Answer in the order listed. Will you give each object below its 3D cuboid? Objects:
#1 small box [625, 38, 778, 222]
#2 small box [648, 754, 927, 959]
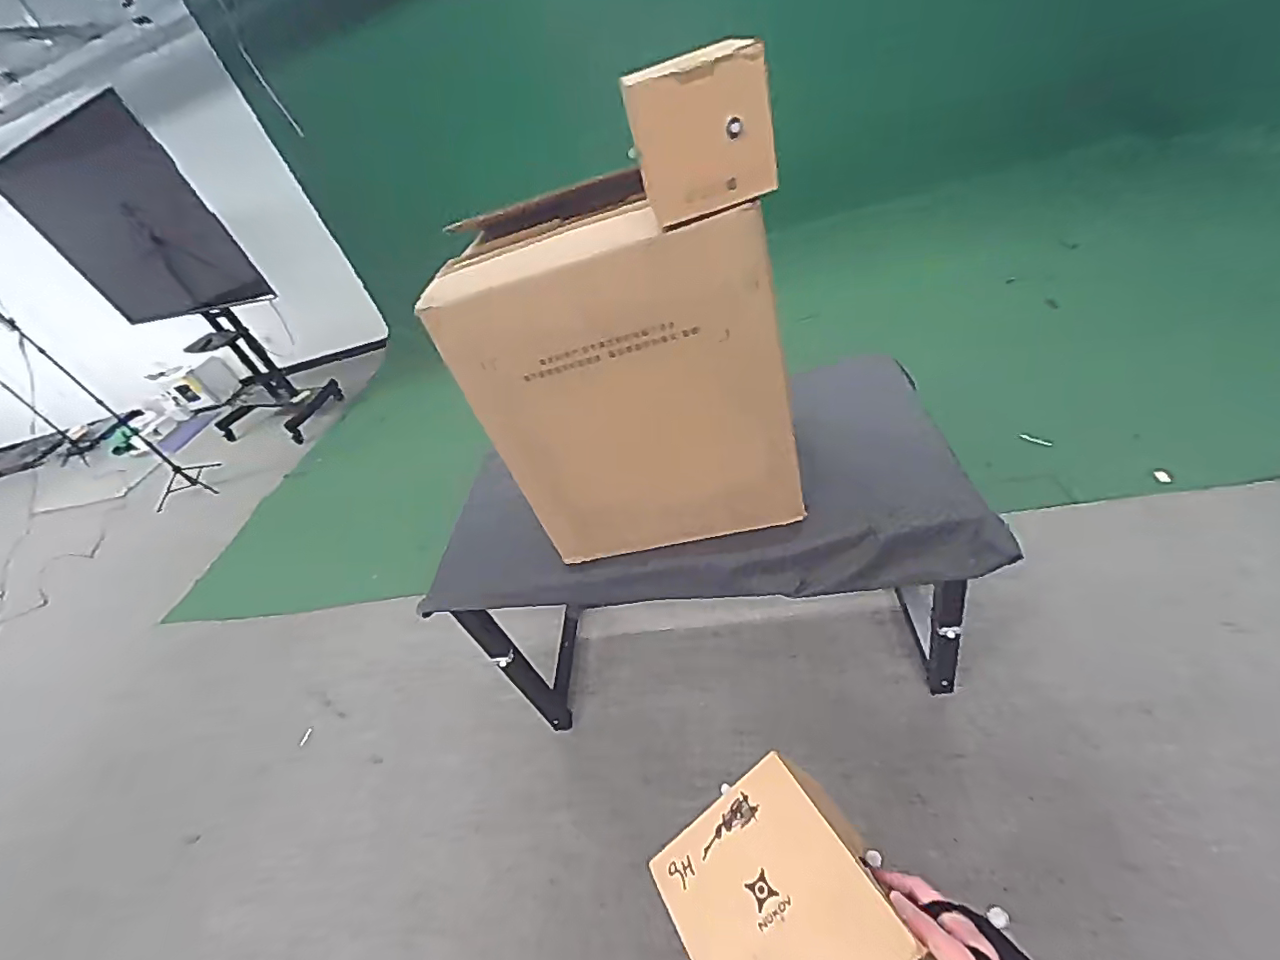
[{"bbox_3d":[0.084,-0.476,0.746,0.168,0.176,0.179,-14,38,6],"label":"small box"},{"bbox_3d":[0.144,0.403,0.517,0.168,0.176,0.179,-41,44,-2],"label":"small box"}]
